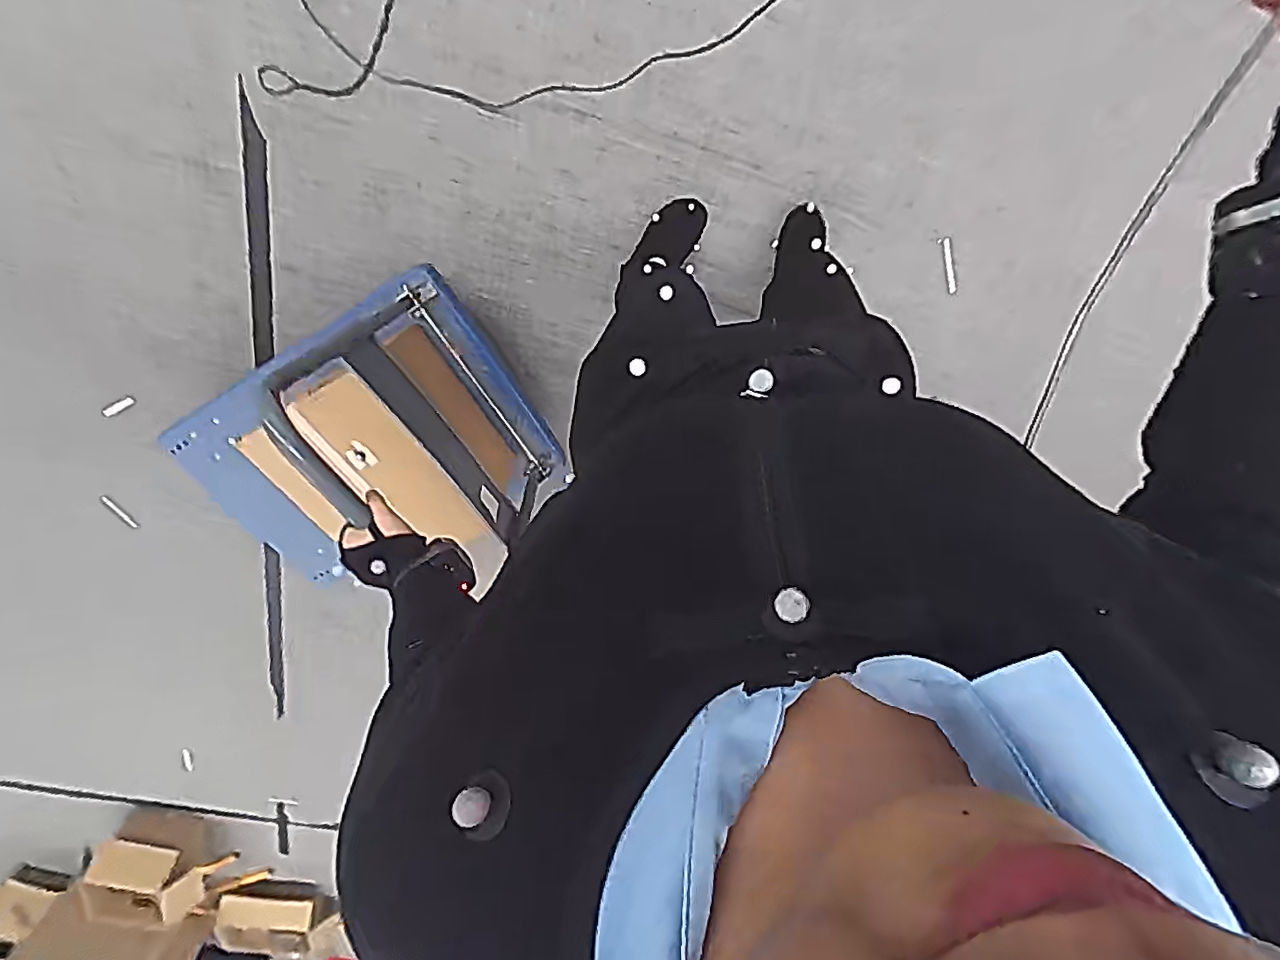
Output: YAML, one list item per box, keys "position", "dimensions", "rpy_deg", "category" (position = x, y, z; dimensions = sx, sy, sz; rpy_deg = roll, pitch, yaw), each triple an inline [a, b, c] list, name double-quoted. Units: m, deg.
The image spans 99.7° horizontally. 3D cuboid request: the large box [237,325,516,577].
- position: [-0.540, -0.066, 1.205]
  dimensions: [0.320, 0.320, 0.408]
  rpy_deg: [-25, 118, 13]
  category: "large box"
